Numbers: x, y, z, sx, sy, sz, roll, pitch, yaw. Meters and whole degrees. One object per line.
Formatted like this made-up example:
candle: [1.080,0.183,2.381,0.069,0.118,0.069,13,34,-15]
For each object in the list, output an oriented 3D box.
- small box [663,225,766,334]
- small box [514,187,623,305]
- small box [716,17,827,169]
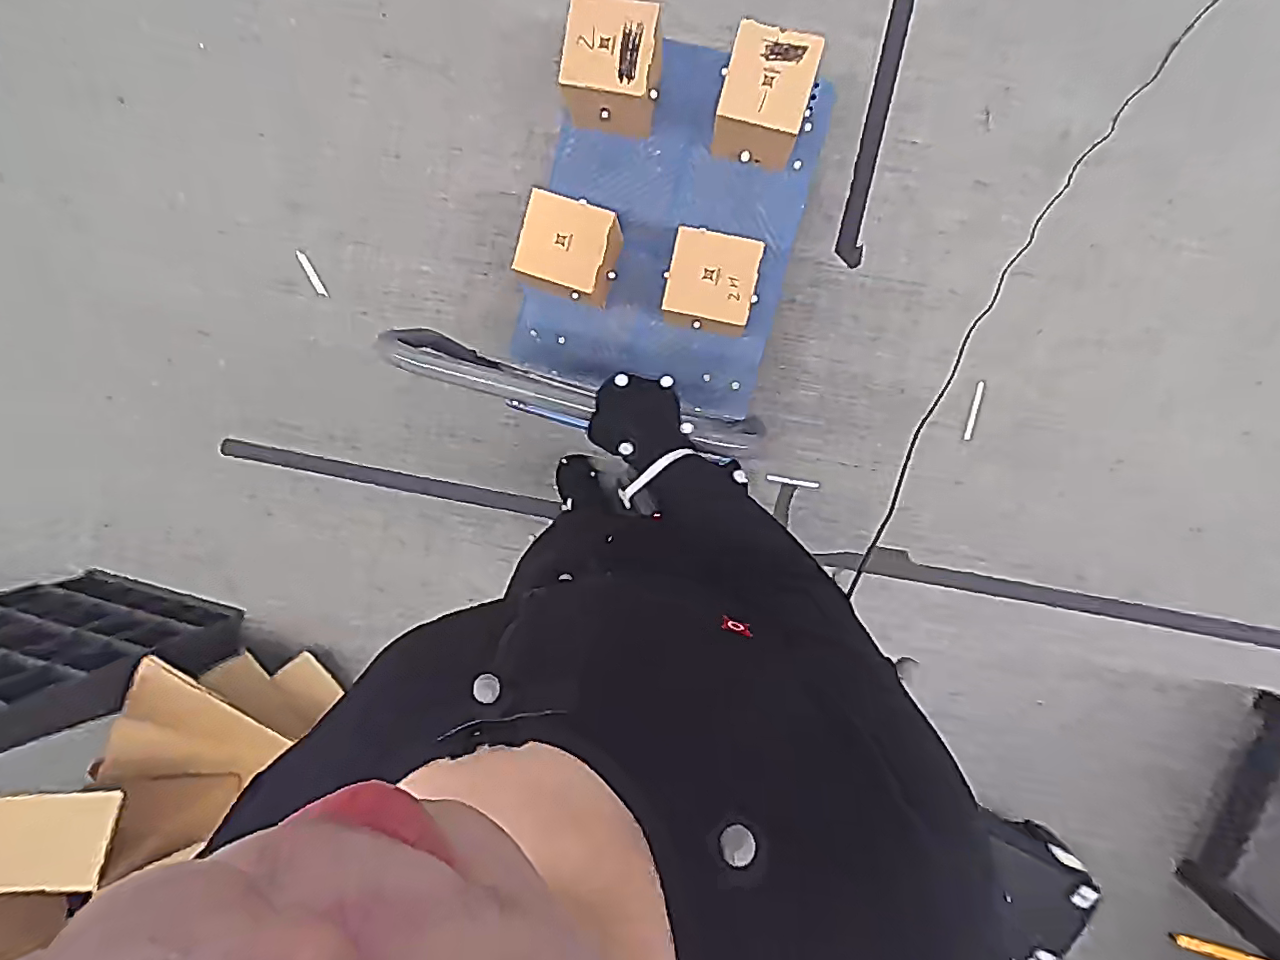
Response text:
small box: [0.154,-0.417,1.153,0.179,0.176,0.168,13,98,3]
small box: [-0.146,-0.494,1.167,0.179,0.176,0.168,17,97,0]
small box: [0.256,-0.777,1.103,0.168,0.176,0.179,16,99,2]
